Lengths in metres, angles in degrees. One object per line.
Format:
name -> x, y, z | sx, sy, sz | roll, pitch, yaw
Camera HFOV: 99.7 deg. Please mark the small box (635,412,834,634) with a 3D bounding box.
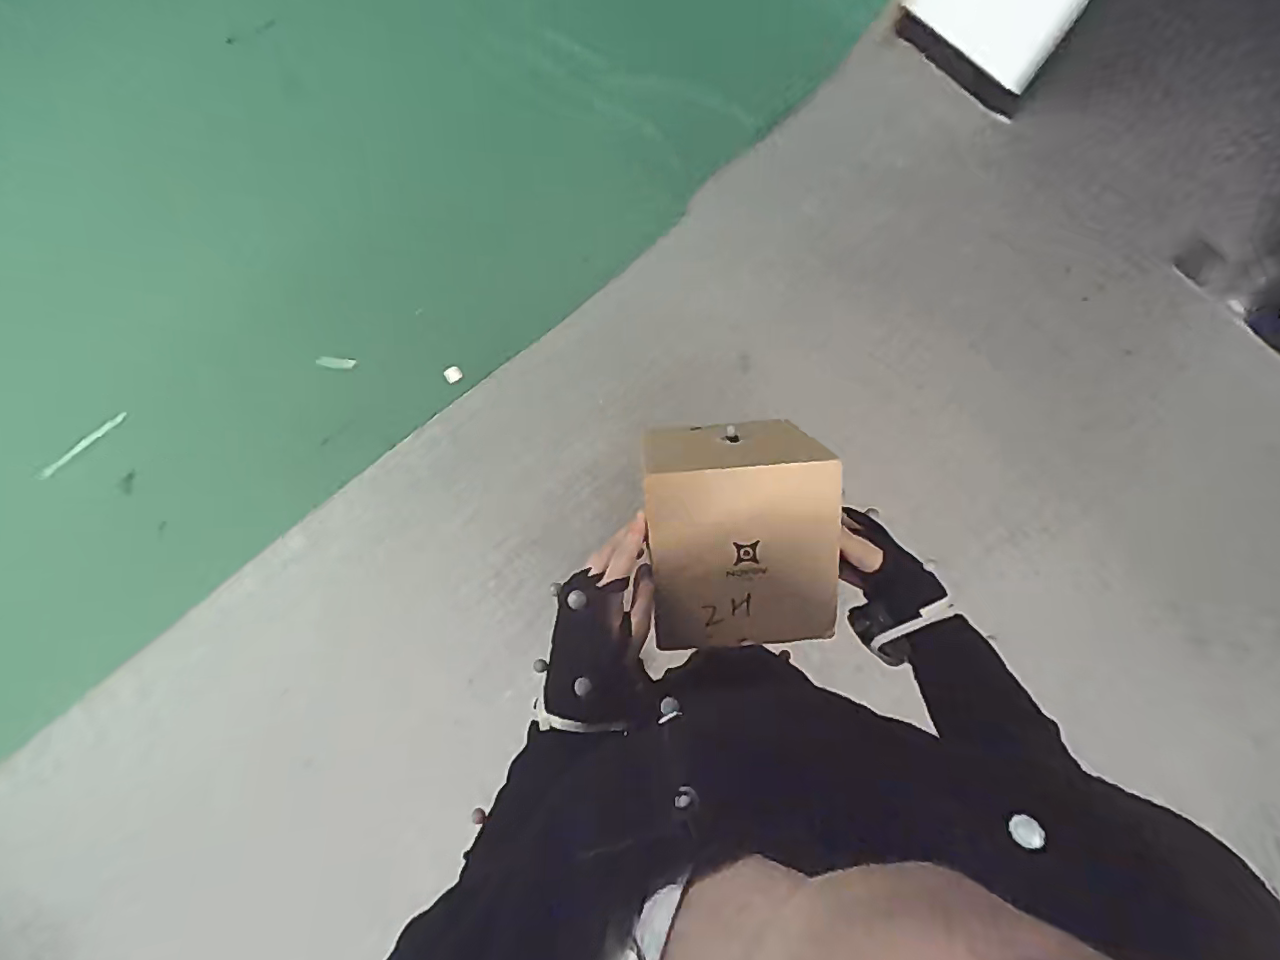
small box -> 0.084, 0.030, 0.551 | 0.168, 0.176, 0.179 | -5, 109, -1
